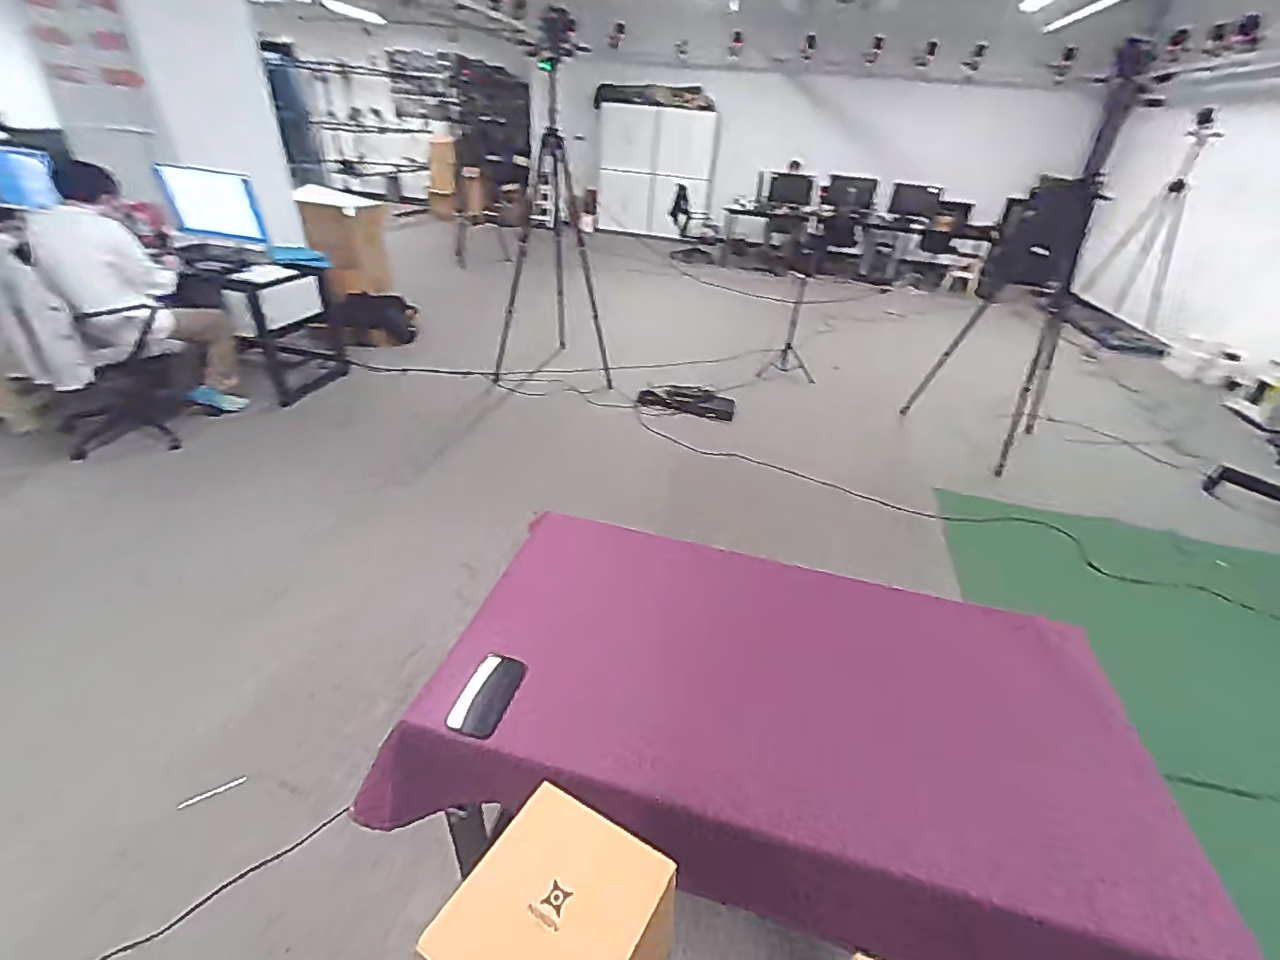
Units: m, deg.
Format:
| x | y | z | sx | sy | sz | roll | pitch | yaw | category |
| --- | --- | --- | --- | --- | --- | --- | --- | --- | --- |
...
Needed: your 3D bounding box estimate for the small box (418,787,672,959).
| x | y | z | sx | sy | sz | roll | pitch | yaw | category |
| --- | --- | --- | --- | --- | --- | --- | --- | --- | --- |
| -0.083 | 0.461 | 0.531 | 0.168 | 0.176 | 0.179 | 16 | 32 | 27 | small box |
